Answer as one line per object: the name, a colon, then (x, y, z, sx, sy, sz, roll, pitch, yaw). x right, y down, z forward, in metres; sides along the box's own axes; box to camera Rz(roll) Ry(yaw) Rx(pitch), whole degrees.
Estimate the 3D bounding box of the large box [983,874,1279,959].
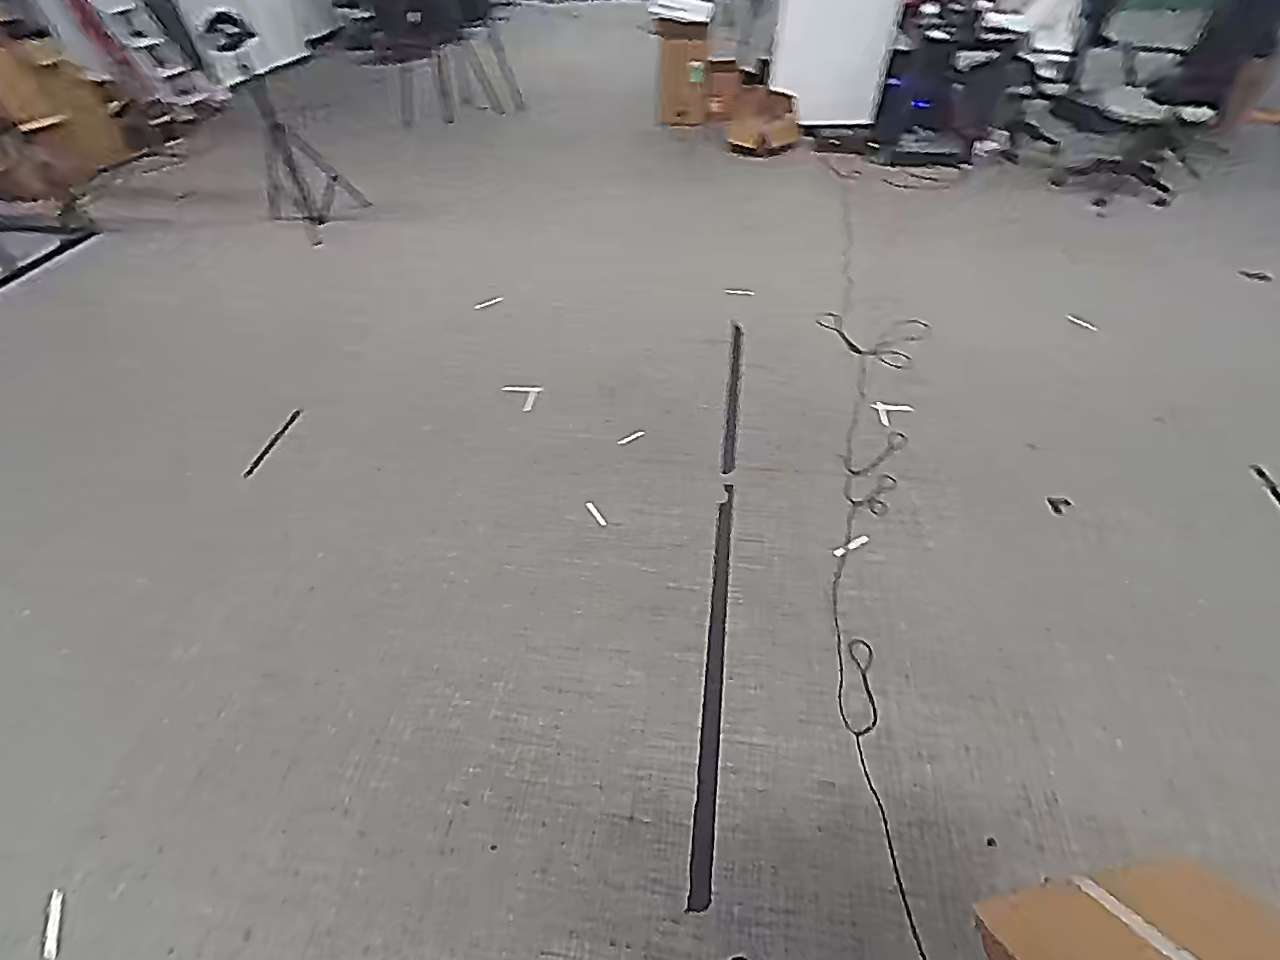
large box: (0.649, 0.699, 0.542, 0.320, 0.408, 0.320, -13, 82, 1)
